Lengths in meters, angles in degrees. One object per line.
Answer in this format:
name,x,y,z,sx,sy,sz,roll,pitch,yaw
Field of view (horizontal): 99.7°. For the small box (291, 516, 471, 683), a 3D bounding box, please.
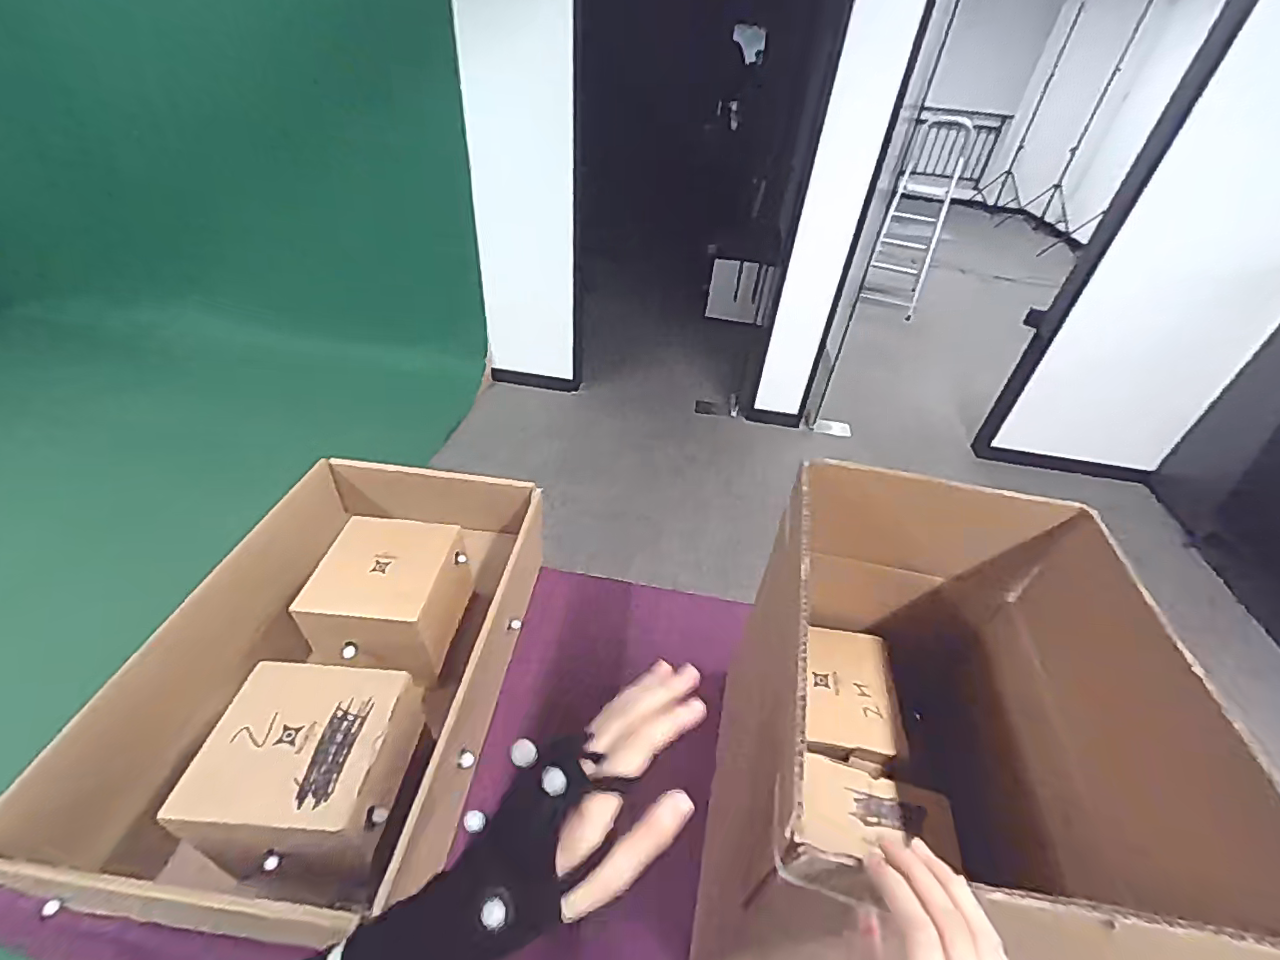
small box,-0.361,0.178,0.799,0.168,0.176,0.179,5,39,1
